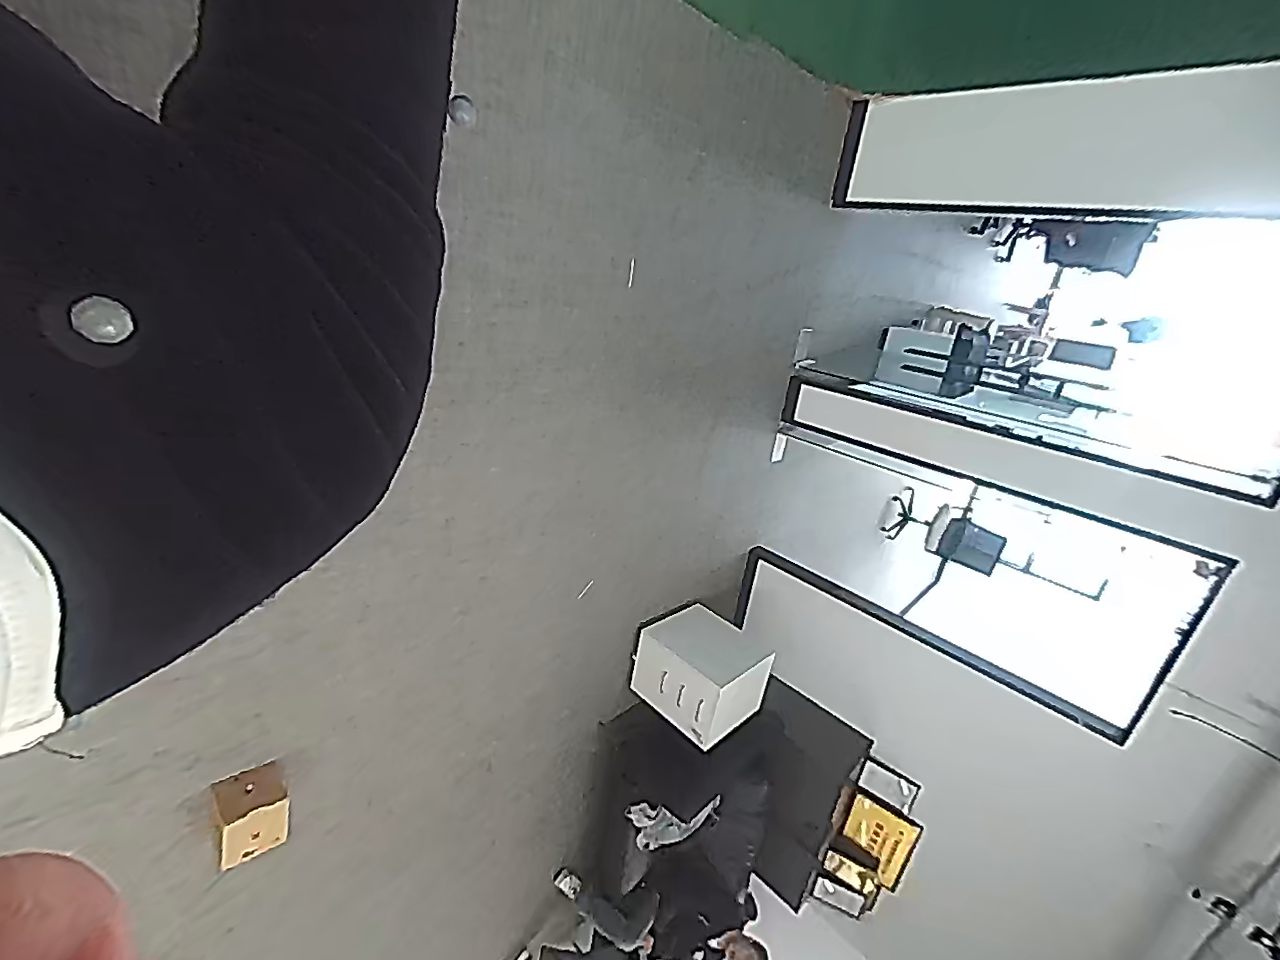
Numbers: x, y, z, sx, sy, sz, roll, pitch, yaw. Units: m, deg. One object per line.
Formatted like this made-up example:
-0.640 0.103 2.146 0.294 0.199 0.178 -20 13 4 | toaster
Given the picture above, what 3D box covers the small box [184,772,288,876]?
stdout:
-1.206 1.020 1.614 0.179 0.176 0.168 -38 138 -31 | small box
